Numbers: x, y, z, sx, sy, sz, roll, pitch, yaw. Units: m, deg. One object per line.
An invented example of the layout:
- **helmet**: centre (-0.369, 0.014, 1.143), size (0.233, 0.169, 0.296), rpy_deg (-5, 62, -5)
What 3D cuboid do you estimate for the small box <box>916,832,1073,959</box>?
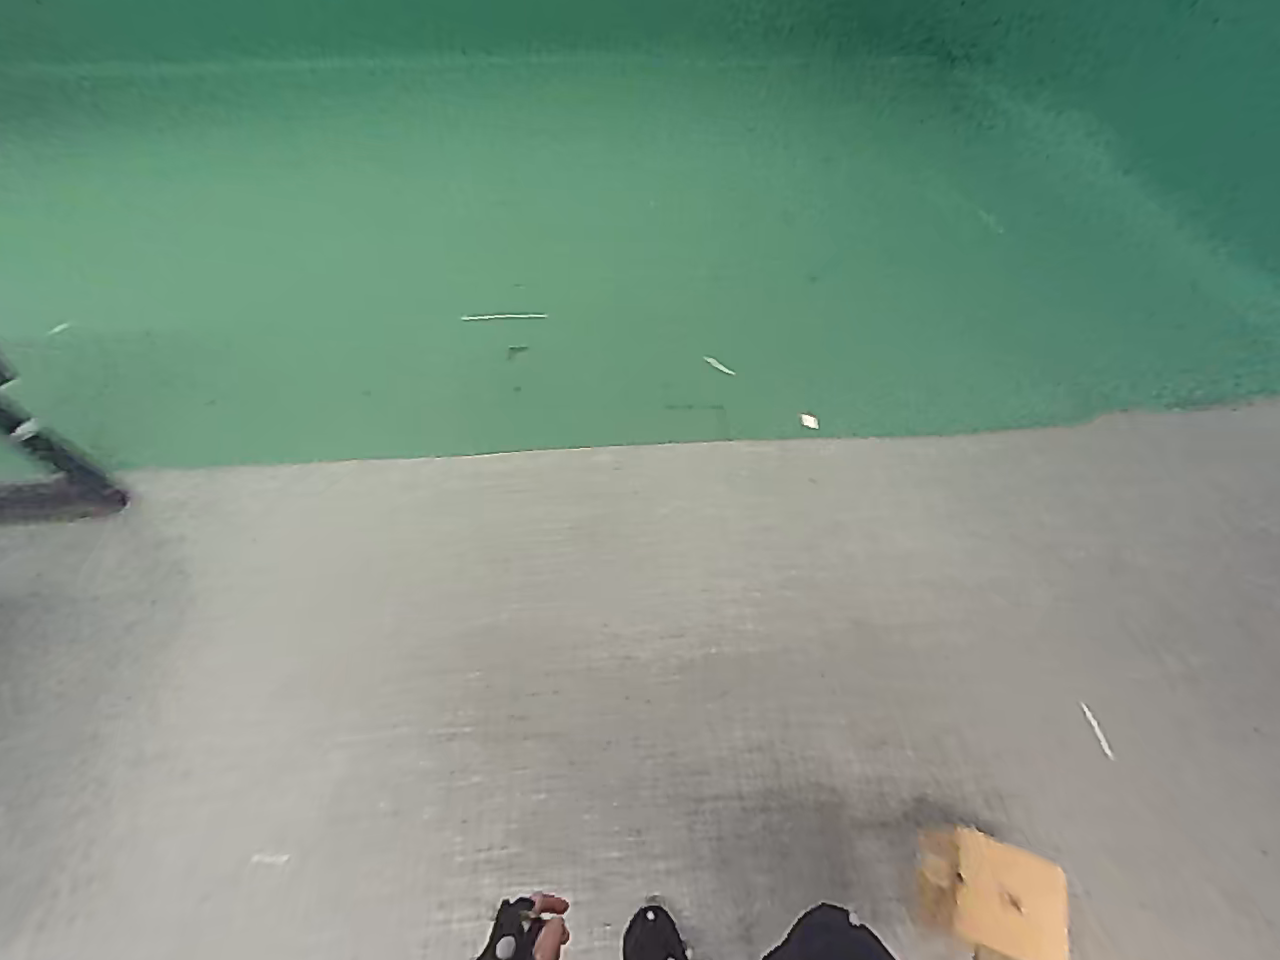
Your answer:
- **small box**: centre (0.625, 0.757, 0.966), size (0.179, 0.176, 0.168), rpy_deg (18, 57, 13)
